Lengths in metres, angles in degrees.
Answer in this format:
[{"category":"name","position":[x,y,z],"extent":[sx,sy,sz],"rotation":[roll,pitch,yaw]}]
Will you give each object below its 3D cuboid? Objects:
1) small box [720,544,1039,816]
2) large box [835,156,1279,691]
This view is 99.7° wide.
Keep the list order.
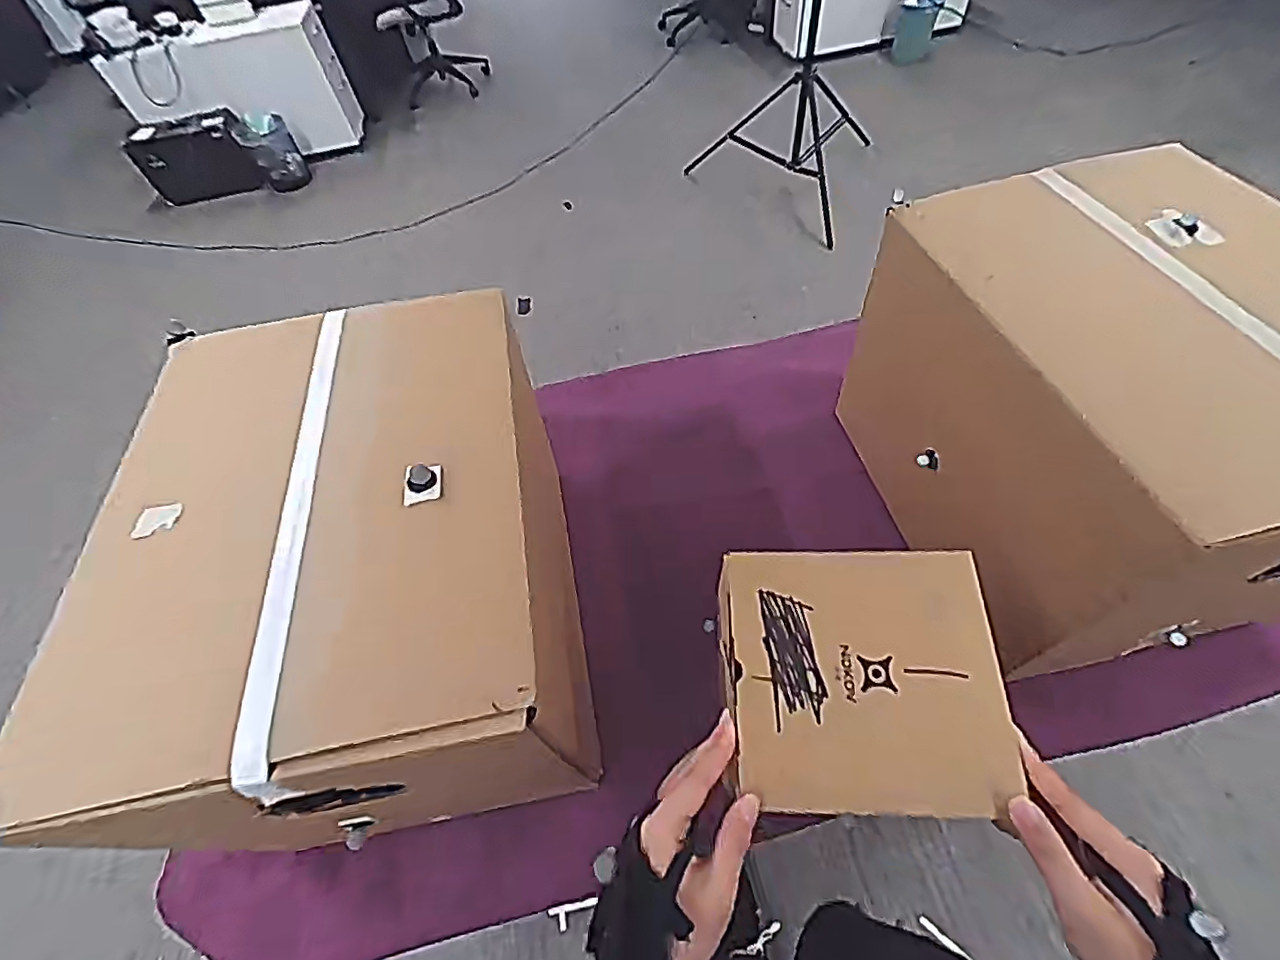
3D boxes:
[{"category":"small box","position":[0.153,0.154,0.423],"extent":[0.179,0.176,0.168],"rotation":[-1,66,4]},{"category":"large box","position":[0.449,-0.058,0.552],"extent":[0.320,0.320,0.408],"rotation":[-12,53,-3]}]
